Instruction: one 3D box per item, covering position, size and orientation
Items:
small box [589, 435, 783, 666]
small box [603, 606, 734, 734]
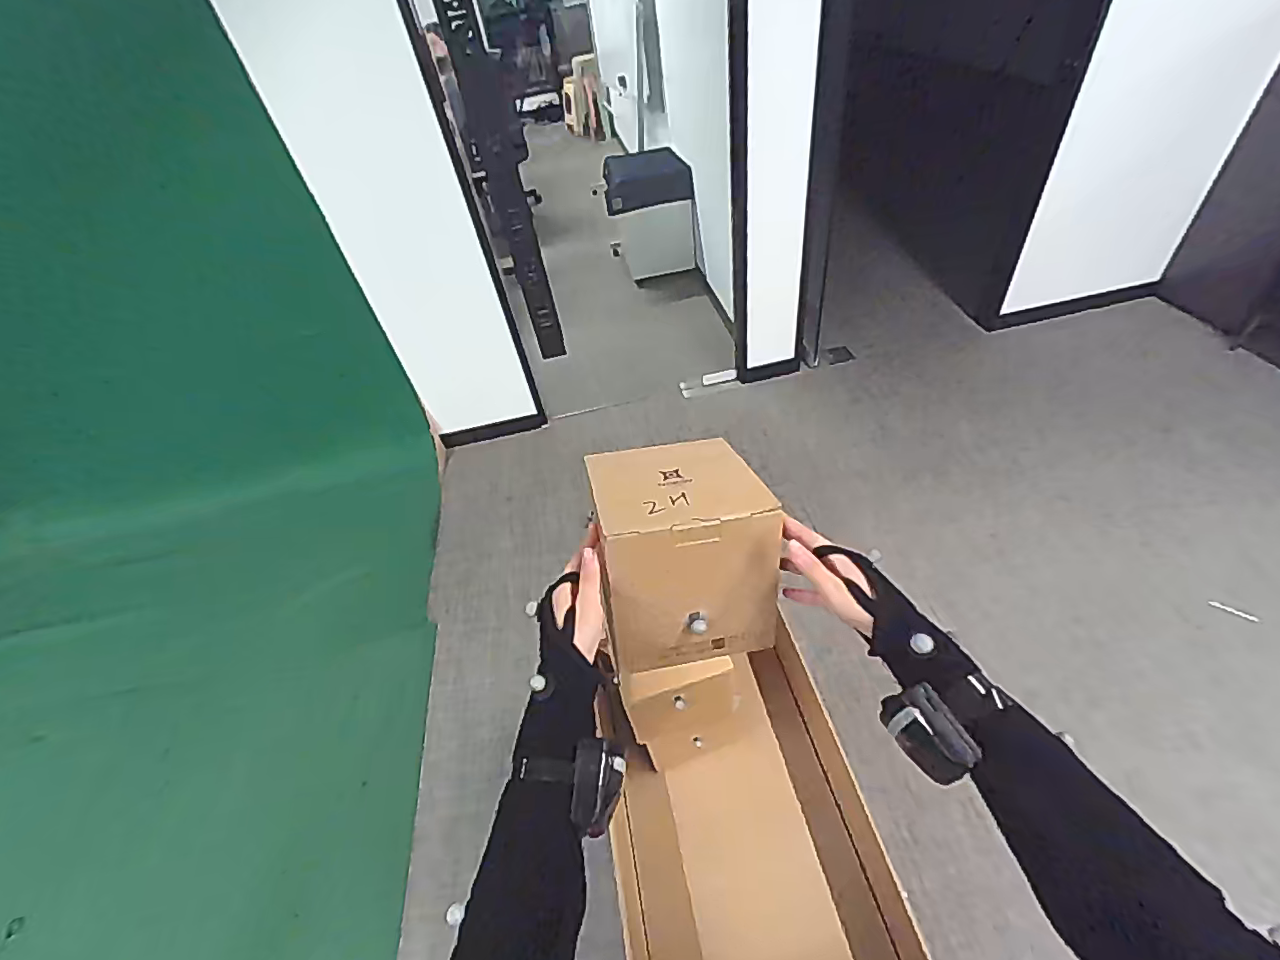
[{"bbox_3d":[0.039,0.068,0.583,0.168,0.176,0.179,-9,28,-7],"label":"small box"},{"bbox_3d":[0.051,0.302,0.919,0.179,0.176,0.168,-17,46,-4],"label":"small box"}]
